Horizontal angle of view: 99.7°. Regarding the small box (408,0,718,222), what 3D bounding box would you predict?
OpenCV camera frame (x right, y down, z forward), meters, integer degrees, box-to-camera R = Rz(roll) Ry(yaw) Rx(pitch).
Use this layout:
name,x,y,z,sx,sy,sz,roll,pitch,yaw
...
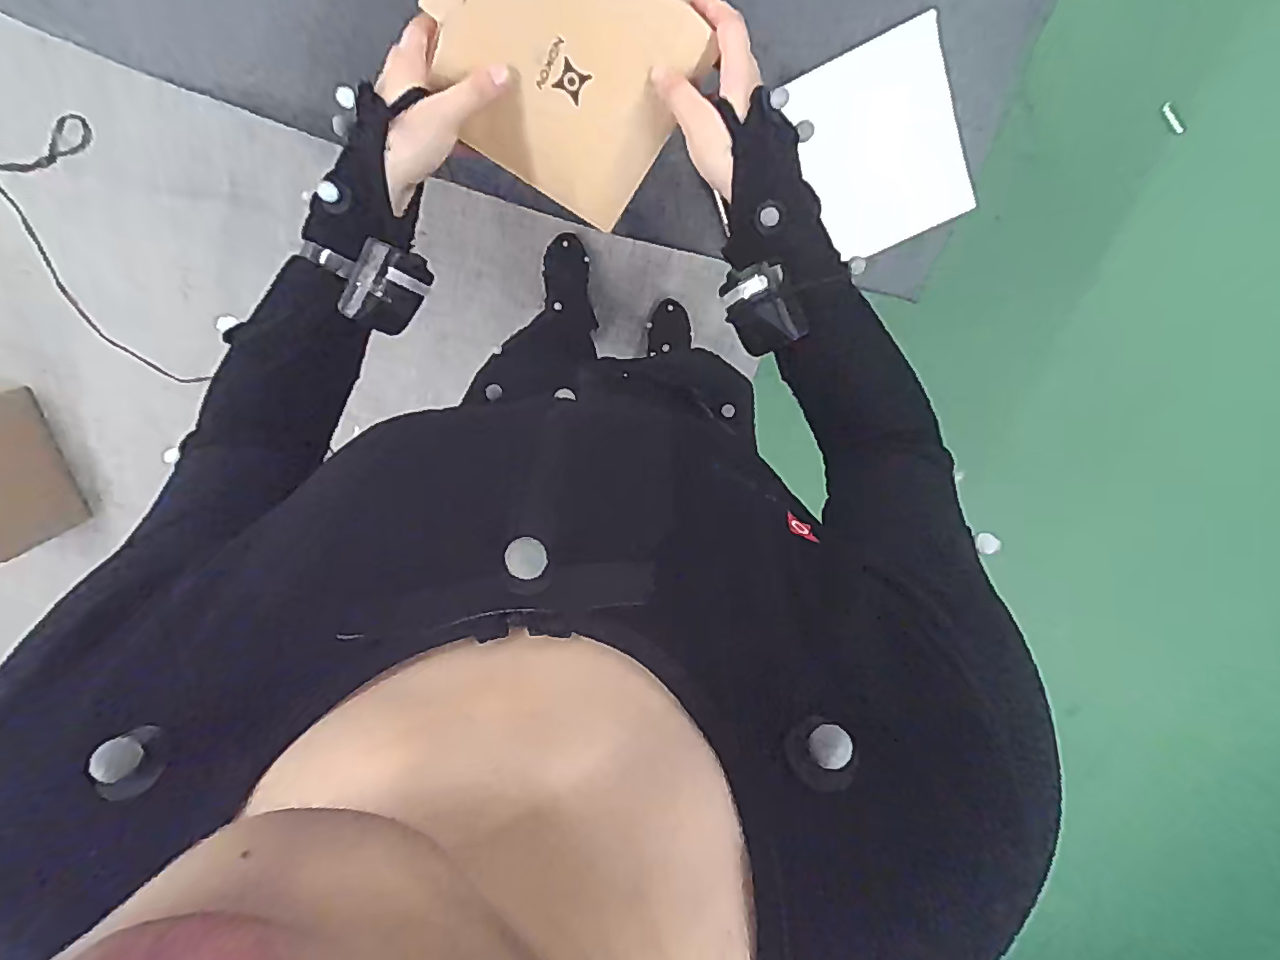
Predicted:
name,x,y,z,sx,sy,sz,roll,pitch,yaw
small box,-0.060,-0.362,0.446,0.179,0.176,0.168,23,132,-25
